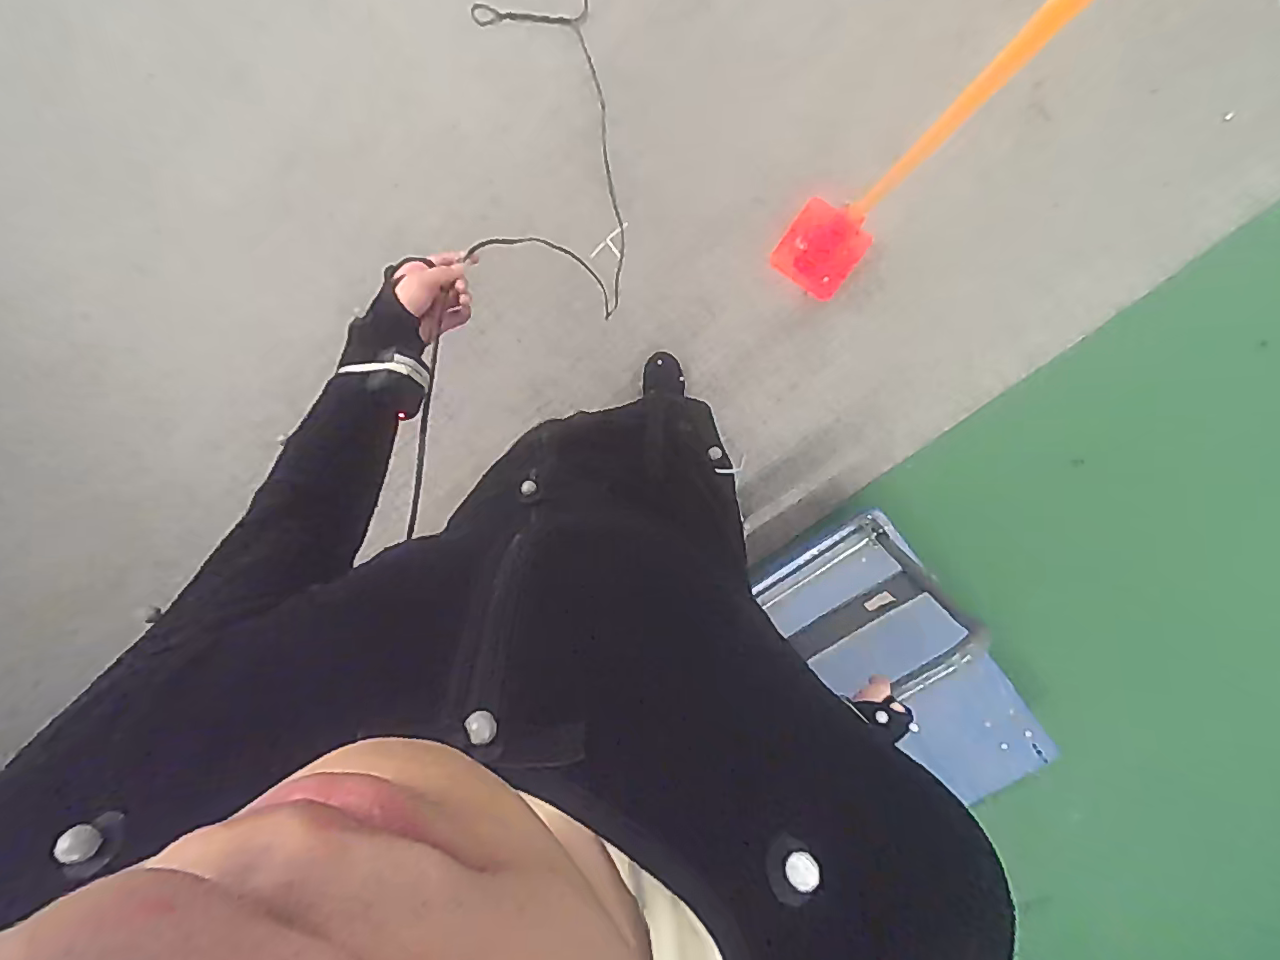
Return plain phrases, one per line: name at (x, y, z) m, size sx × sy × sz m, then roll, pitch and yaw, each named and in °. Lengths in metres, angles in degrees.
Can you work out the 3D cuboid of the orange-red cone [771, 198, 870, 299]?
orange-red cone at (0.455, -0.572, 1.254) m, size 0.198 × 0.360 × 0.199 m, roll 37°, pitch 102°, yaw -3°
